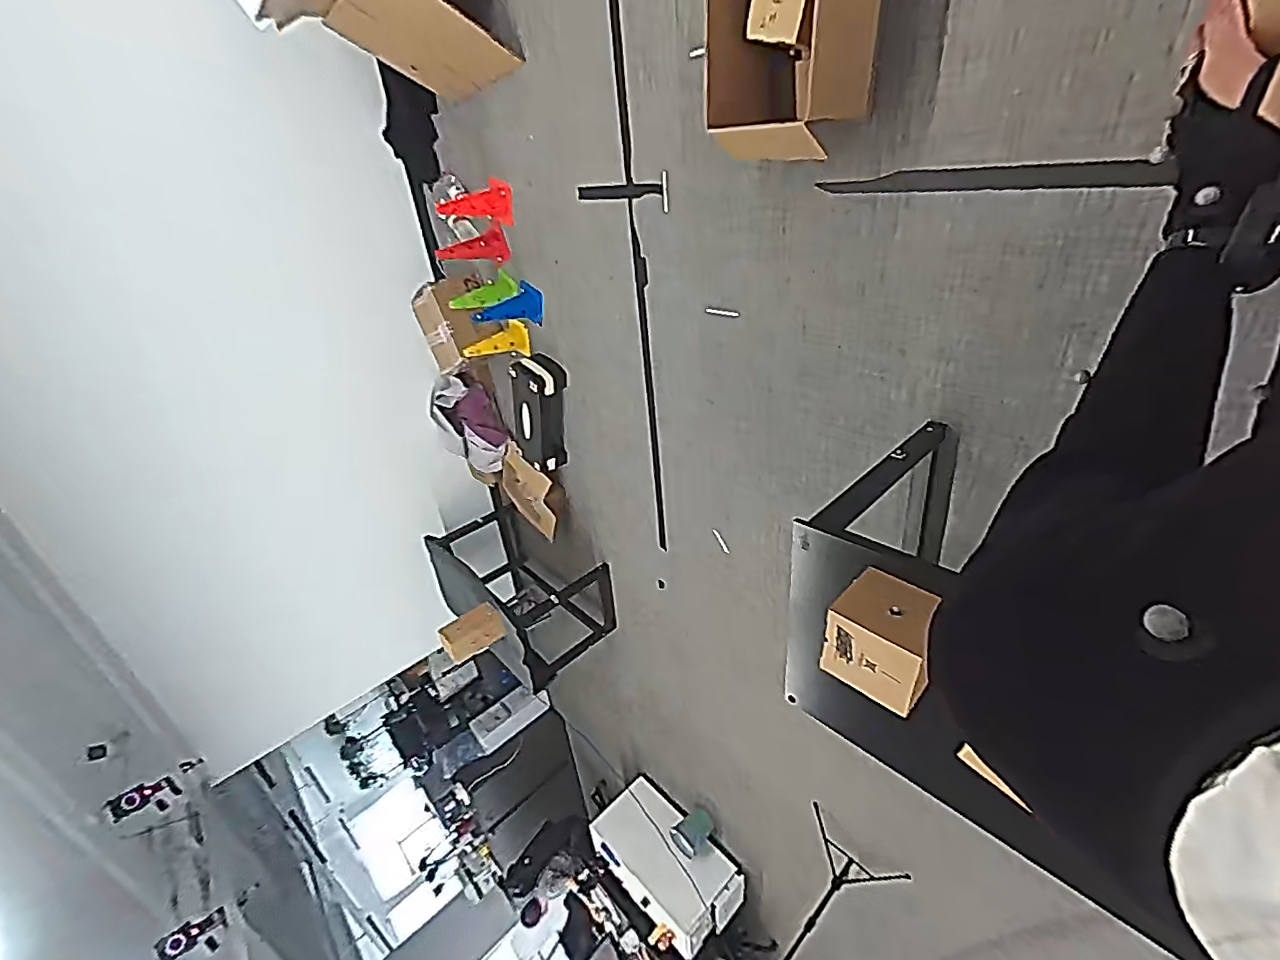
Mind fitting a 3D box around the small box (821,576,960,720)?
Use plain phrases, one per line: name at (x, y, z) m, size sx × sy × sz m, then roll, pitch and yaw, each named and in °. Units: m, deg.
small box at (0.479, 0.310, 1.043) m, size 0.179 × 0.176 × 0.168 m, roll 25°, pitch 132°, yaw 40°
